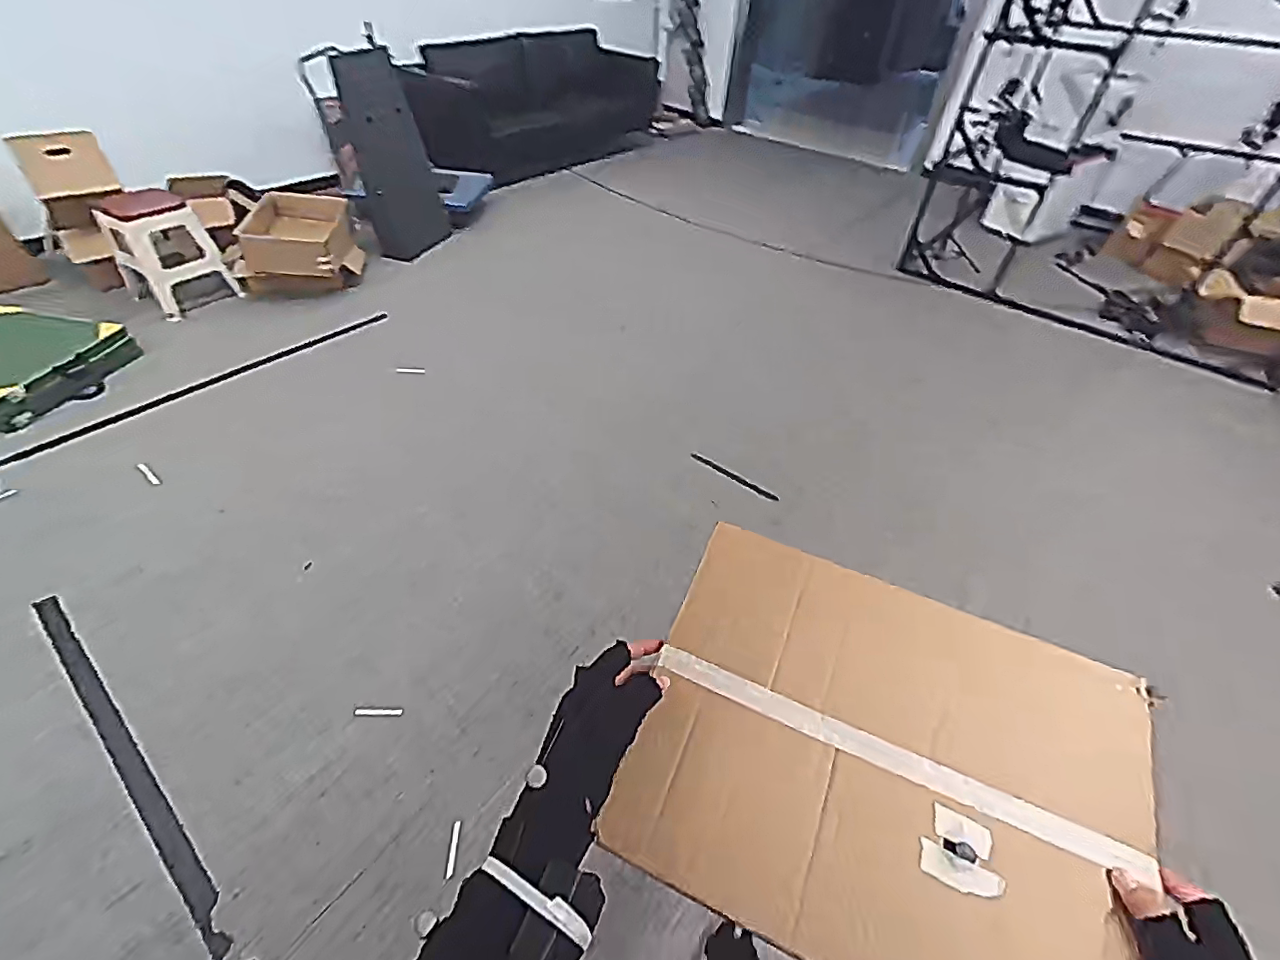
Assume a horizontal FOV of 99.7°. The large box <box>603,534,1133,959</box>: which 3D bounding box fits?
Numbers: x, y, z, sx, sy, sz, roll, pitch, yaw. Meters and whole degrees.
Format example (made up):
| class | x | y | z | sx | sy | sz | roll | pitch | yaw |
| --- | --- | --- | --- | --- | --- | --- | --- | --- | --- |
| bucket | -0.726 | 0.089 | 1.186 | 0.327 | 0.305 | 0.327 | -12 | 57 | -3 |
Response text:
| class | x | y | z | sx | sy | sz | roll | pitch | yaw |
| --- | --- | --- | --- | --- | --- | --- | --- | --- | --- |
| large box | 0.208 | 0.318 | 0.600 | 0.408 | 0.320 | 0.320 | 20 | 60 | 14 |
